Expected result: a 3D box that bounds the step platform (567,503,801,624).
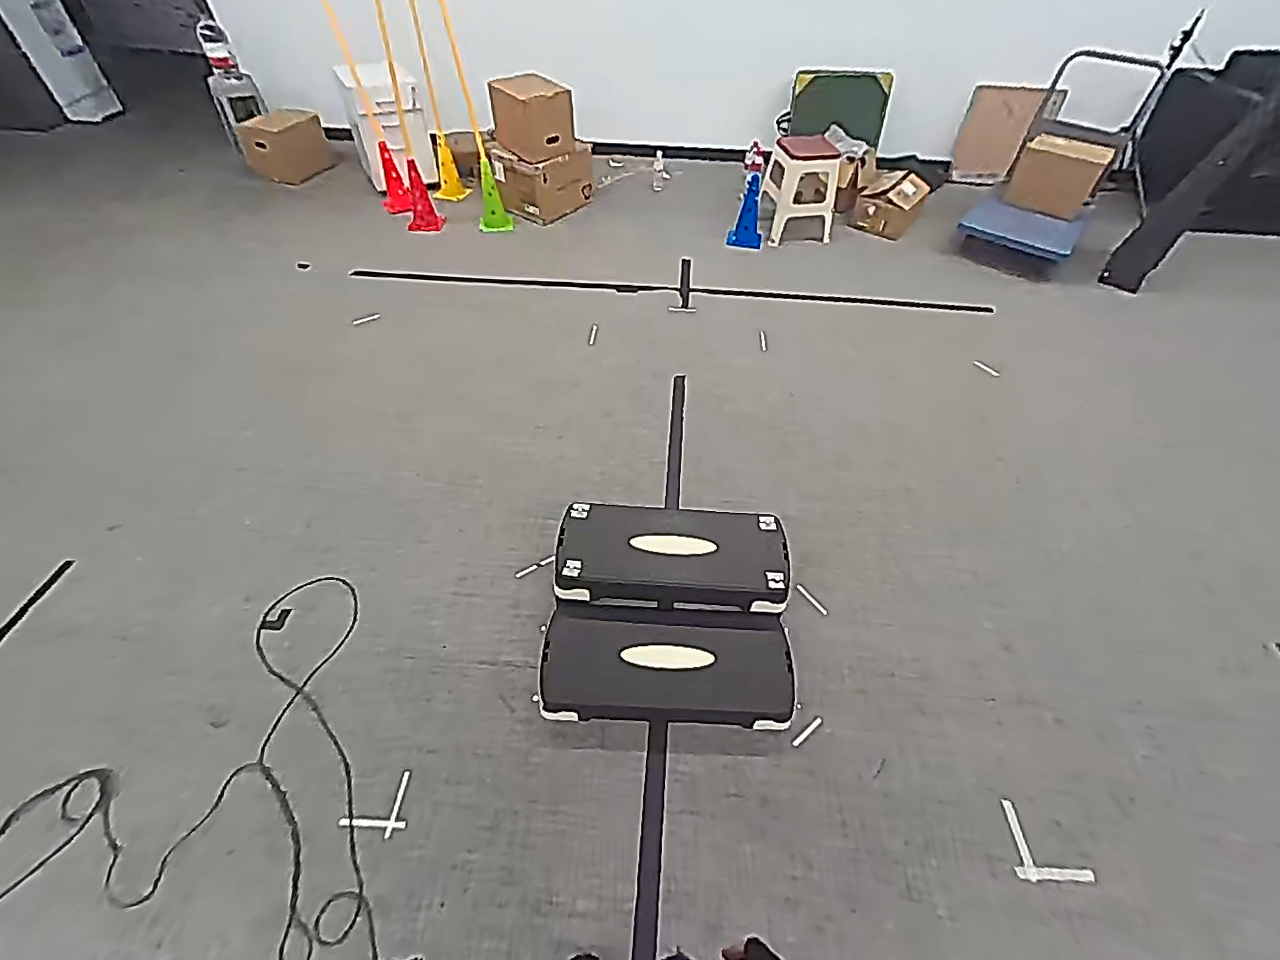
[{"bbox_3d":[0.126,0.246,1.626,0.684,0.204,0.286,4,49,0],"label":"step platform"}]
